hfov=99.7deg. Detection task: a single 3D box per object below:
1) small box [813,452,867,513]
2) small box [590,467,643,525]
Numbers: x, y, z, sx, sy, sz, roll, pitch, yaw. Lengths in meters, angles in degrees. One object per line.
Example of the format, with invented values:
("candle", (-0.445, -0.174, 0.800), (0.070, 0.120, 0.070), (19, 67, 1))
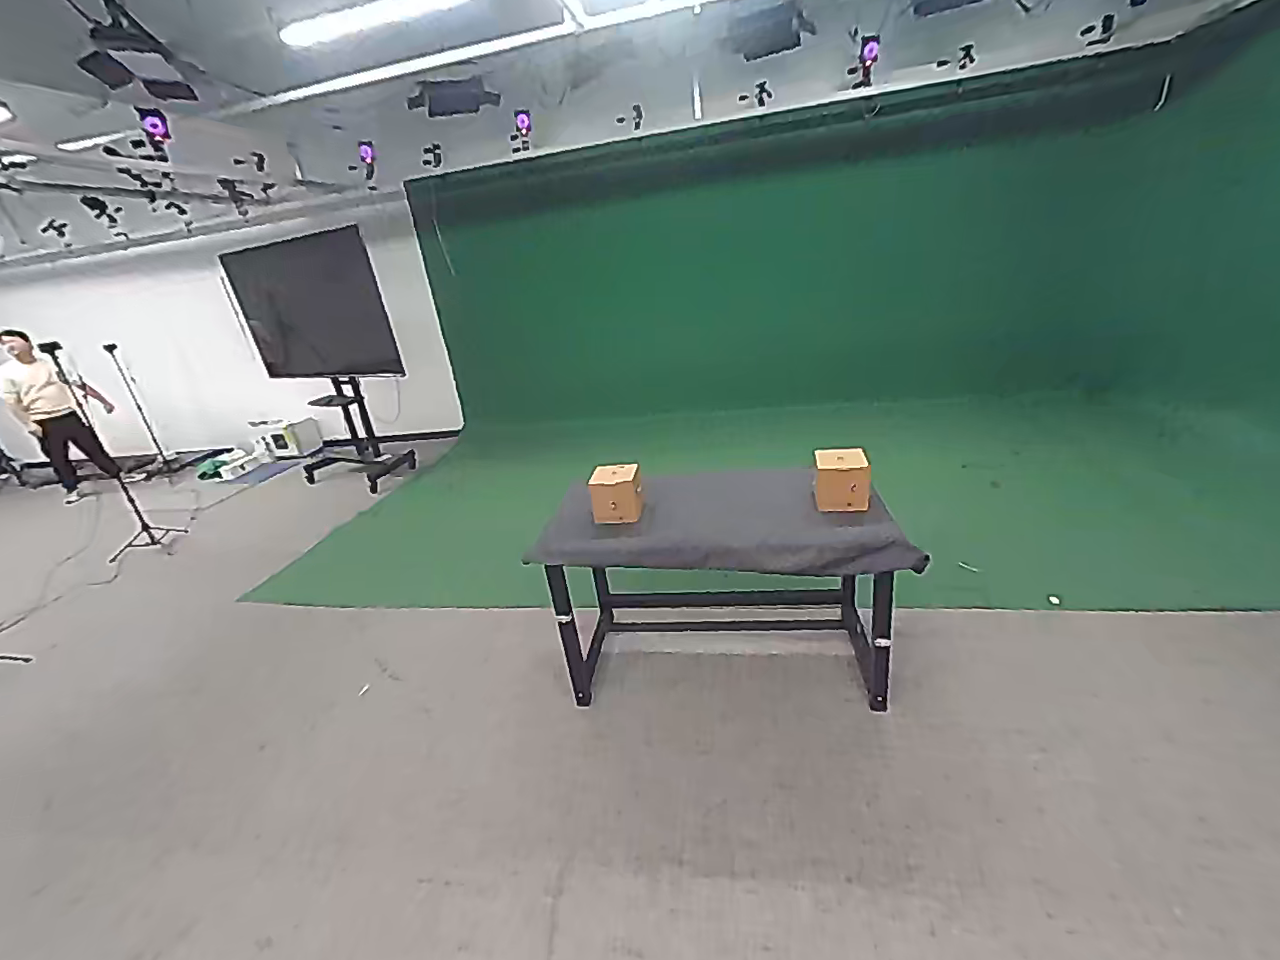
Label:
("small box", (0.711, 0.009, 1.927), (0.168, 0.176, 0.179), (-2, 22, 13))
("small box", (-0.083, 0.065, 2.068), (0.168, 0.176, 0.179), (-3, 23, 9))
